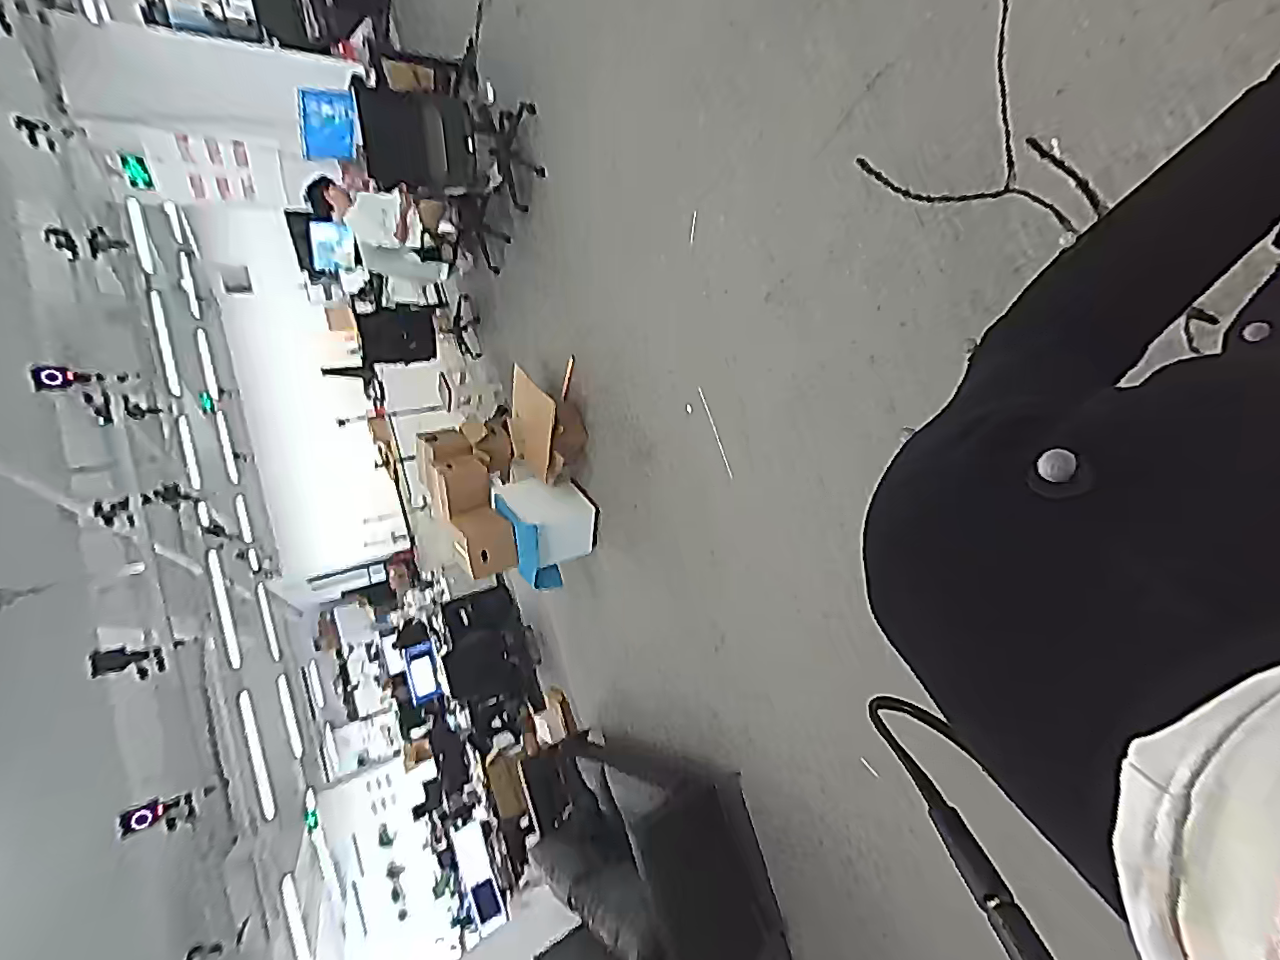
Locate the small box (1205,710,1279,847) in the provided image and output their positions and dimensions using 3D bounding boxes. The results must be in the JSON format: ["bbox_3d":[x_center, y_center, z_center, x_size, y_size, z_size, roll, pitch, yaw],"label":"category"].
[{"bbox_3d":[1.179,0.542,0.975,0.168,0.176,0.179,-19,86,61],"label":"small box"}]

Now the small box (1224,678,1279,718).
[{"bbox_3d":[1.313,0.507,1.061,0.179,0.176,0.168,-18,86,58],"label":"small box"}]
